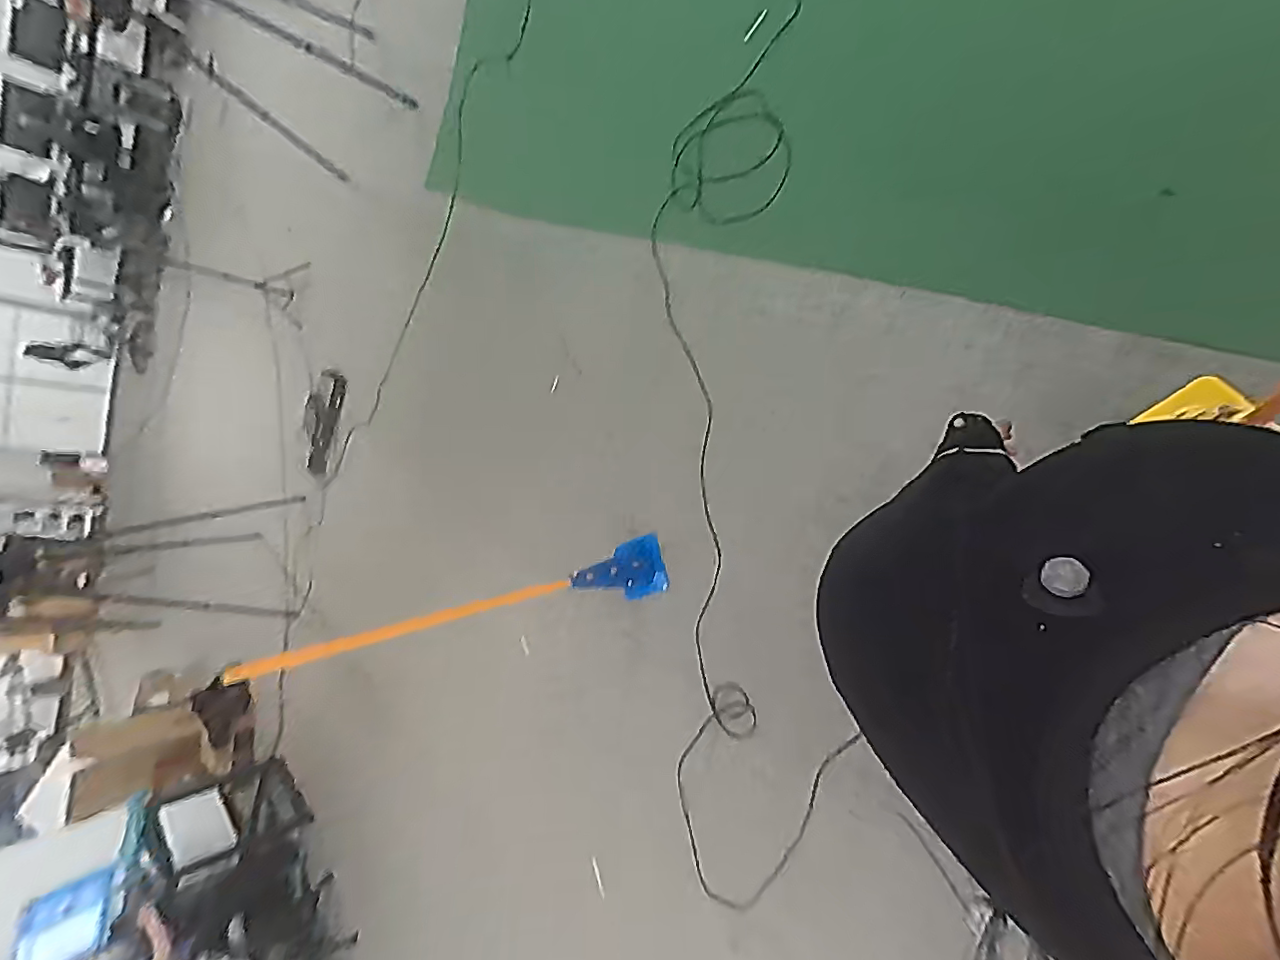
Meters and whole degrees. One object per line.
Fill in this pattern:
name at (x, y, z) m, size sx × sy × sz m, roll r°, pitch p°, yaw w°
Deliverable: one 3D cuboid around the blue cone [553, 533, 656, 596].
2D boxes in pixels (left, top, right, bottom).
blue cone at (-0.131, 0.298, 1.752) m, size 0.193 × 0.380 × 0.192 m, roll -27°, pitch 74°, yaw 35°
